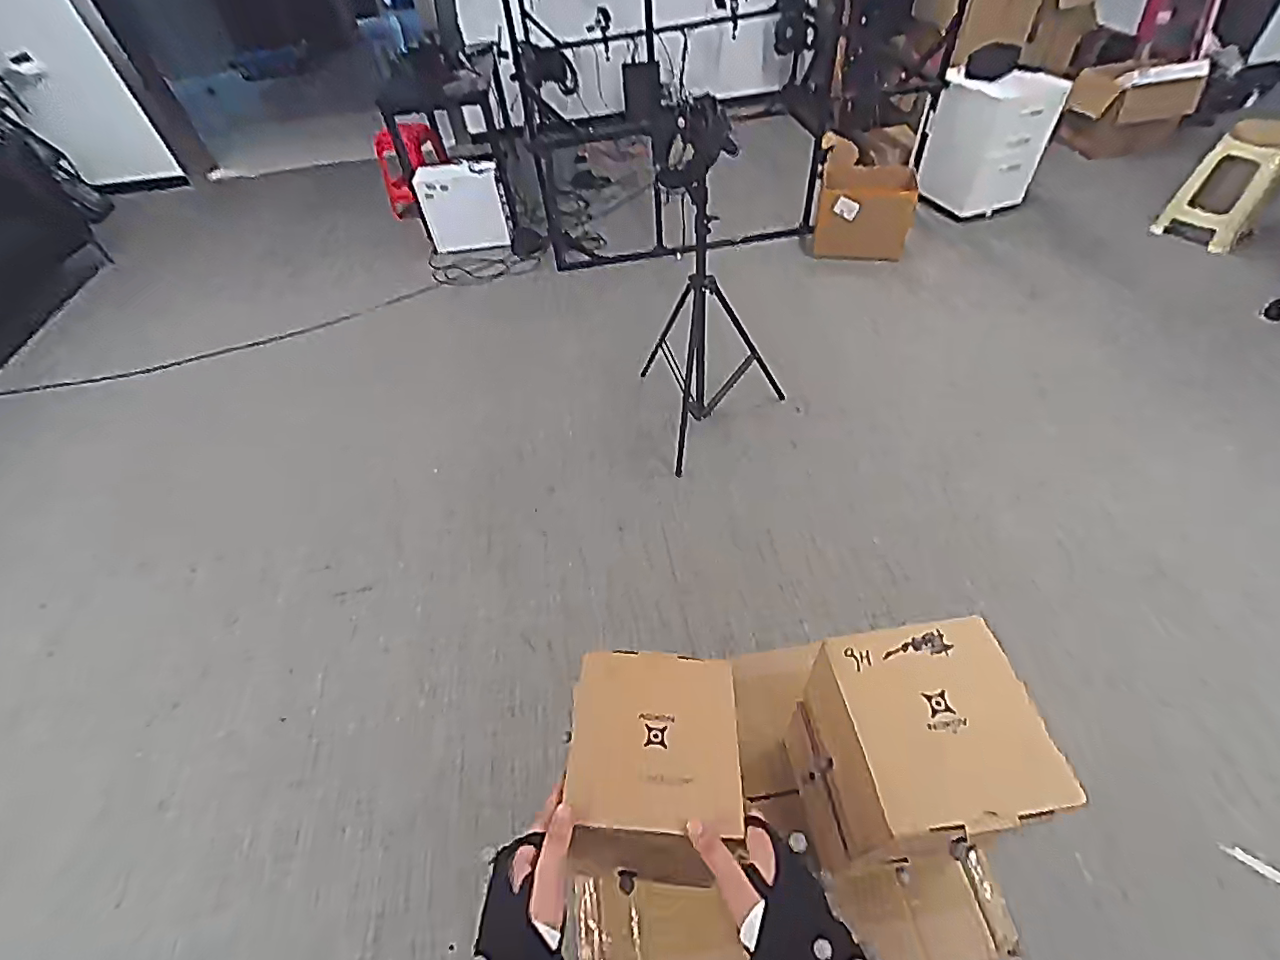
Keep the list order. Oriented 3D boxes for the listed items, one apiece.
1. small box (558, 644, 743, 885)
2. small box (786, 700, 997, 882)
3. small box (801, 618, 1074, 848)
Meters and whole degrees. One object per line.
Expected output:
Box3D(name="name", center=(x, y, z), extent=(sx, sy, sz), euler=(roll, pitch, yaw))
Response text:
Box3D(name="small box", center=(0.005, 0.304, 0.582), extent=(0.168, 0.176, 0.179), euler=(5, 41, -2))
Box3D(name="small box", center=(0.292, 0.380, 0.681), extent=(0.168, 0.176, 0.179), euler=(-10, 49, -1))
Box3D(name="small box", center=(0.280, 0.267, 0.561), extent=(0.168, 0.176, 0.179), euler=(-7, 50, 0))
